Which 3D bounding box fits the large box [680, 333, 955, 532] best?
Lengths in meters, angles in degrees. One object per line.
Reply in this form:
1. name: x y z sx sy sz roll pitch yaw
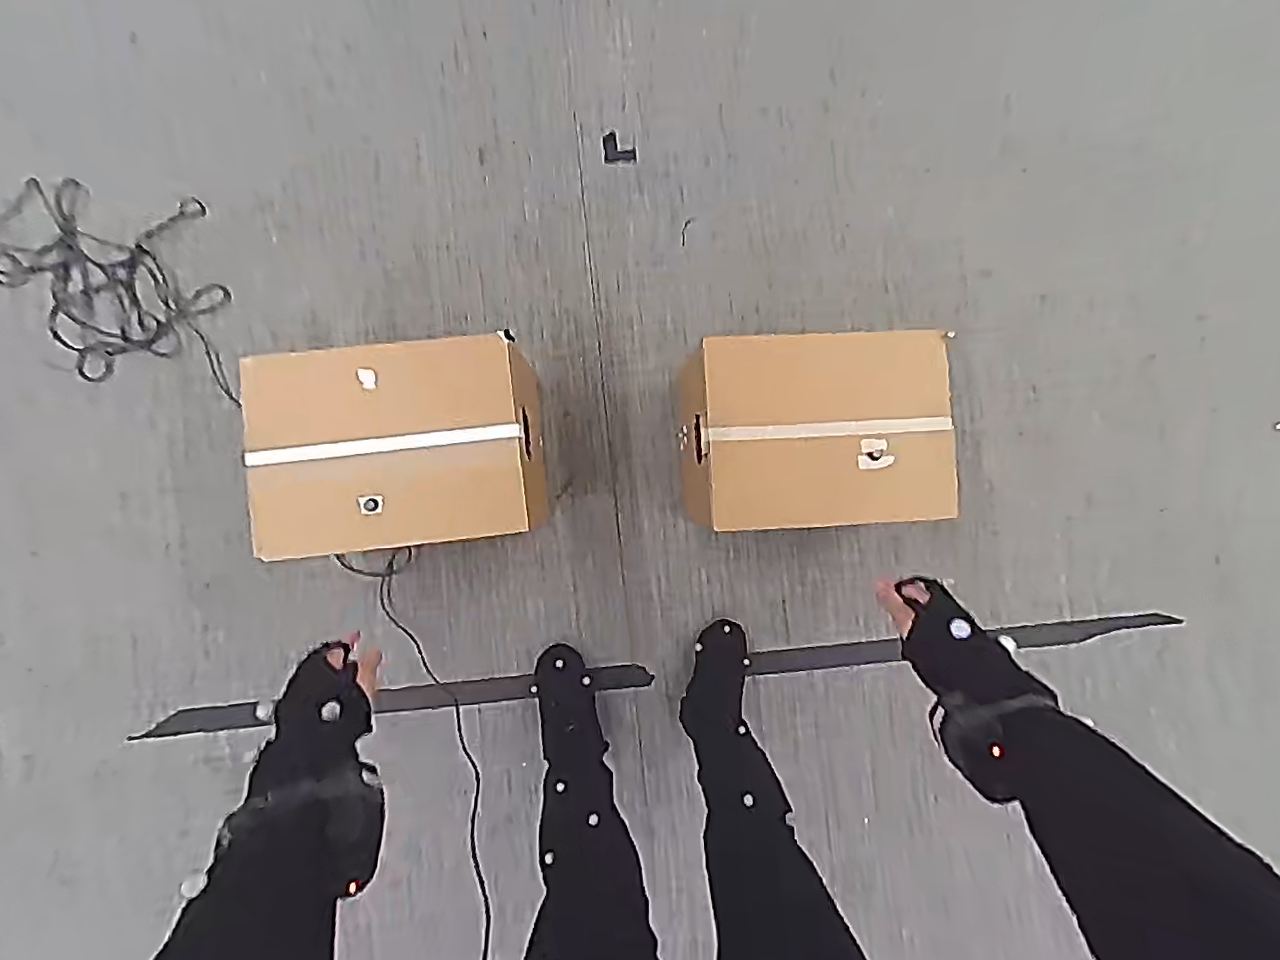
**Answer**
1. large box: 0.302 -0.075 1.027 0.408 0.320 0.320 -2 89 -4
